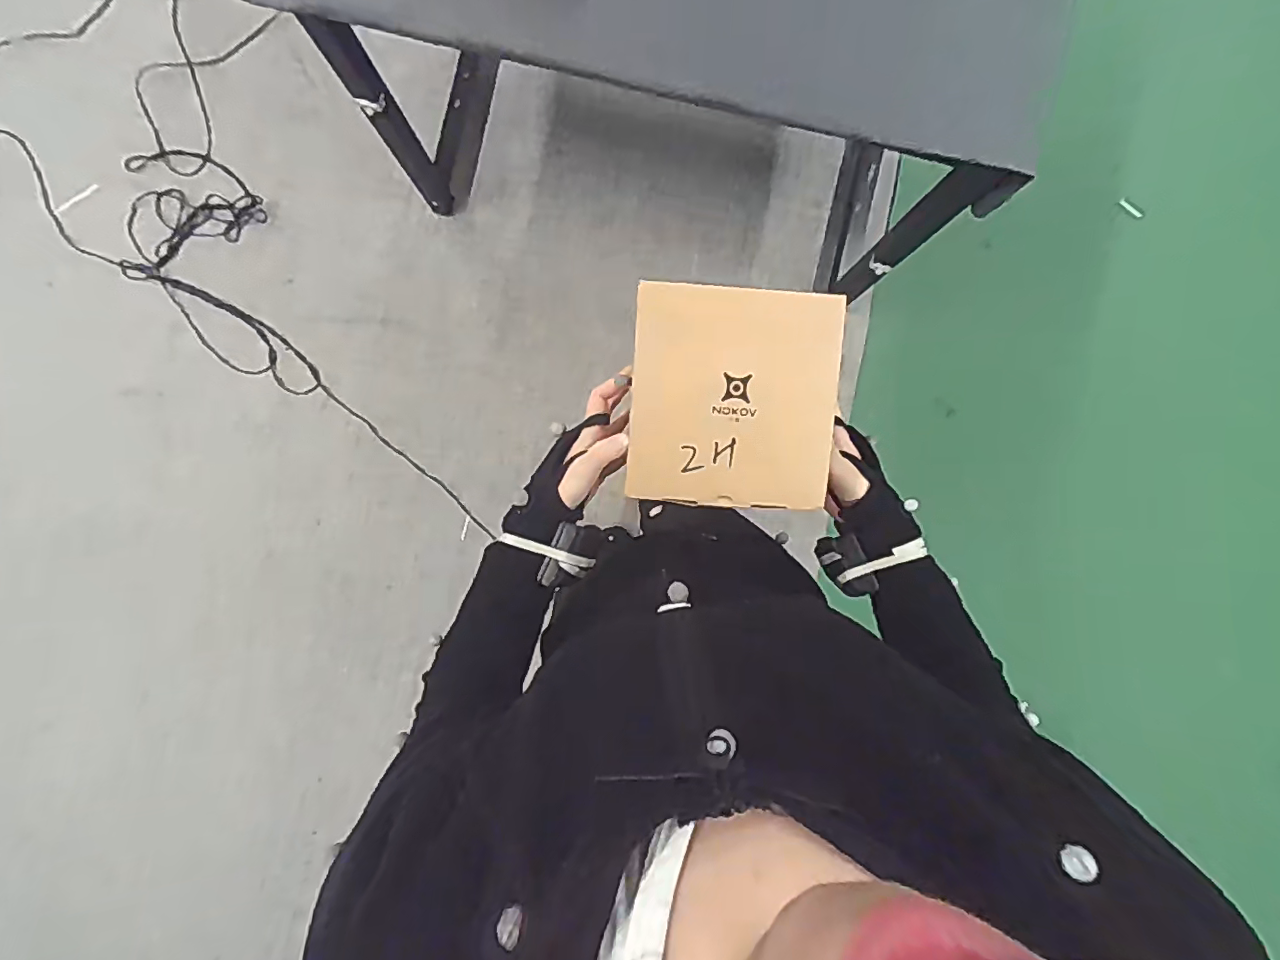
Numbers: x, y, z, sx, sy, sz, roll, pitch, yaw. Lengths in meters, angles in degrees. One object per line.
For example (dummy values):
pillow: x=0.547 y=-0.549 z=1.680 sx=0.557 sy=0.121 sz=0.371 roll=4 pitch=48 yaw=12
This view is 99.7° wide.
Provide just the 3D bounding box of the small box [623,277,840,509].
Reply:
small box: x=0.071 y=-0.075 z=0.515 sx=0.168 sy=0.176 sz=0.179 roll=4 pitch=95 yaw=-1
